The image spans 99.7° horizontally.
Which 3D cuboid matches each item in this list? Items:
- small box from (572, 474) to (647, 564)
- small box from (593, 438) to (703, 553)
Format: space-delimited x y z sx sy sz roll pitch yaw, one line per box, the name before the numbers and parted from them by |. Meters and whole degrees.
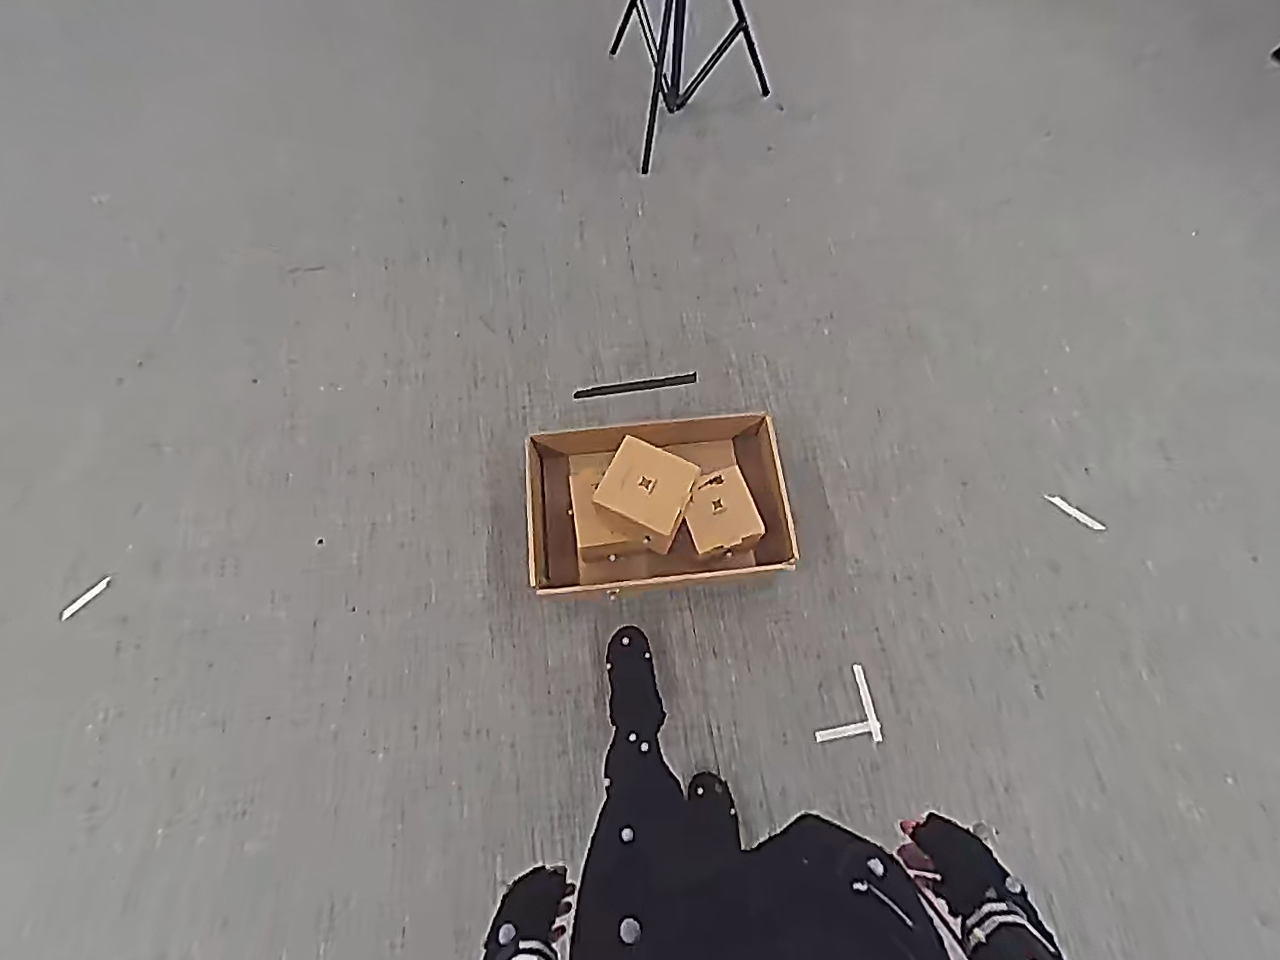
small box | -0.072 0.095 1.318 0.168 0.176 0.179 -8 71 -4
small box | 0.016 0.043 1.165 0.179 0.176 0.168 24 69 9
